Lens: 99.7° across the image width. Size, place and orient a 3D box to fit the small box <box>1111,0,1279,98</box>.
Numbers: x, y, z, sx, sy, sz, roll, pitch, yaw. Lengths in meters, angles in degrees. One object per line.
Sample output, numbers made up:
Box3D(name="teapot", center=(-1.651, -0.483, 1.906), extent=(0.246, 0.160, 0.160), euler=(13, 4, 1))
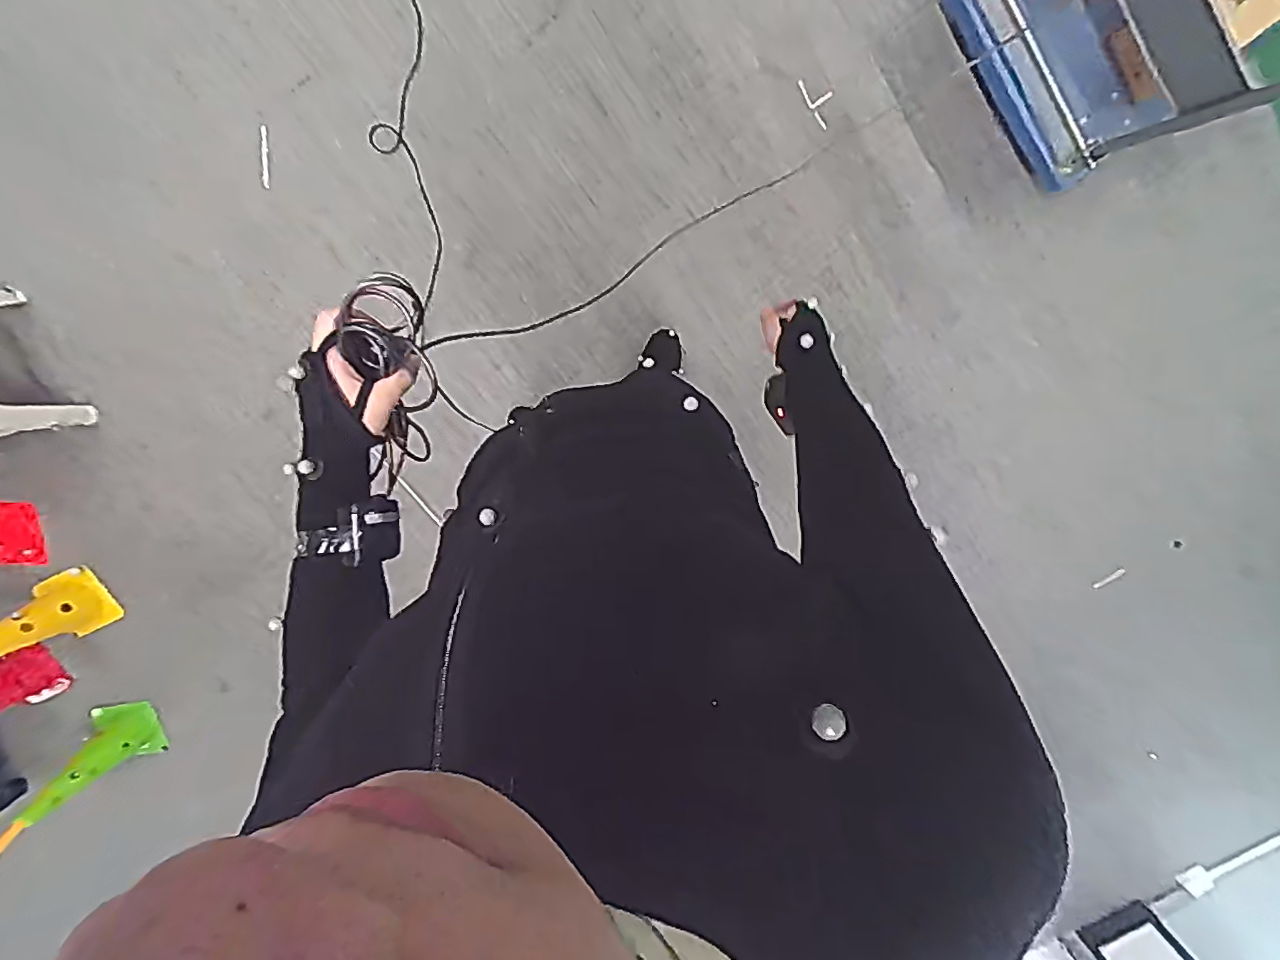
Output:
Box3D(name="small box", center=(1.162, -0.959, 1.133), extent=(0.179, 0.176, 0.168), euler=(-36, 104, 10))
